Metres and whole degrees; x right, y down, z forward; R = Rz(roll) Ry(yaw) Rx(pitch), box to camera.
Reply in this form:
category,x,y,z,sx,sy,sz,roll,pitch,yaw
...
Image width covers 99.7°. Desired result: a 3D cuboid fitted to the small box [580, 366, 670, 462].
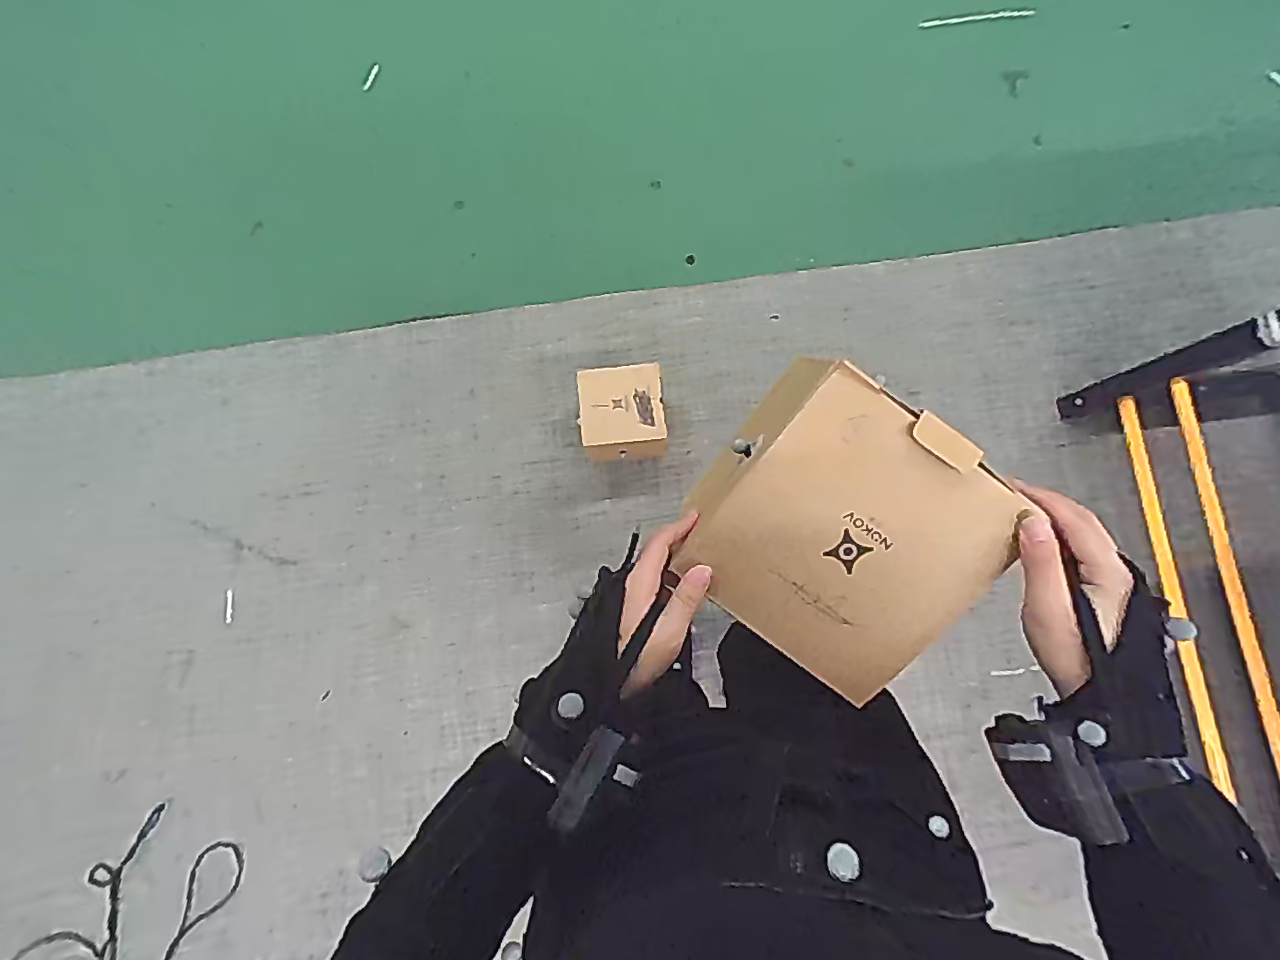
category,x,y,z,sx,sy,sz,roll,pitch,yaw
small box,-0.033,-0.139,1.190,0.179,0.176,0.168,-5,80,0

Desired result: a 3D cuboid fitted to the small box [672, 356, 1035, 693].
category,x,y,z,sx,sy,sz,roll,pitch,yaw
small box,0.142,0.018,0.430,0.168,0.176,0.179,36,105,-2
